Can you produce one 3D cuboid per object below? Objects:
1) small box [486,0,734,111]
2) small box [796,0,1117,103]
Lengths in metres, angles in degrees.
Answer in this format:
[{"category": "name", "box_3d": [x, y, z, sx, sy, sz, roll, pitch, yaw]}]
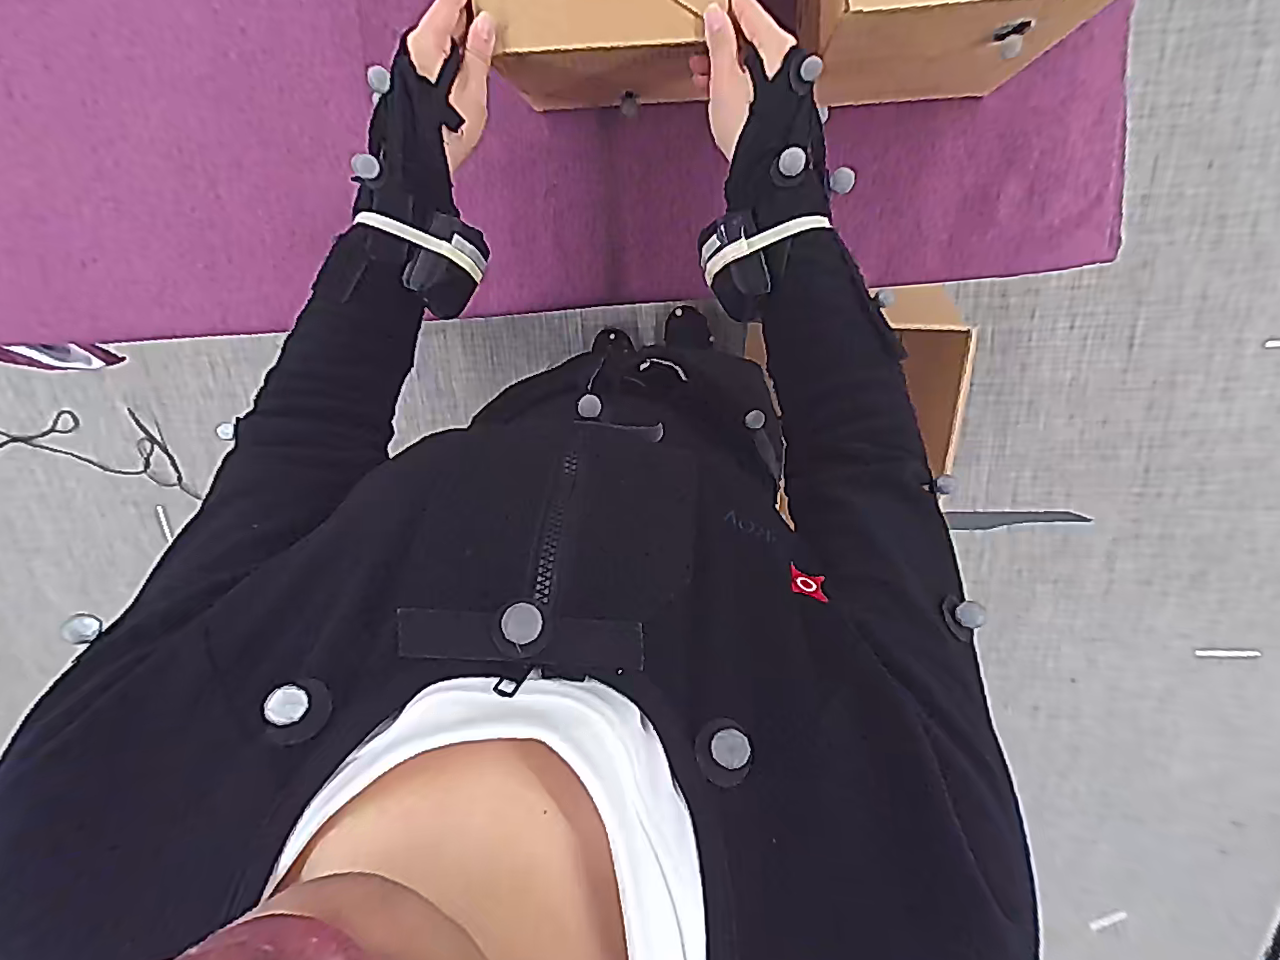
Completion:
[{"category": "small box", "box_3d": [-0.020, -0.407, 0.414, 0.179, 0.176, 0.168, 0, 112, 6]}, {"category": "small box", "box_3d": [0.226, -0.407, 0.401, 0.179, 0.176, 0.168, 0, 106, 4]}]
